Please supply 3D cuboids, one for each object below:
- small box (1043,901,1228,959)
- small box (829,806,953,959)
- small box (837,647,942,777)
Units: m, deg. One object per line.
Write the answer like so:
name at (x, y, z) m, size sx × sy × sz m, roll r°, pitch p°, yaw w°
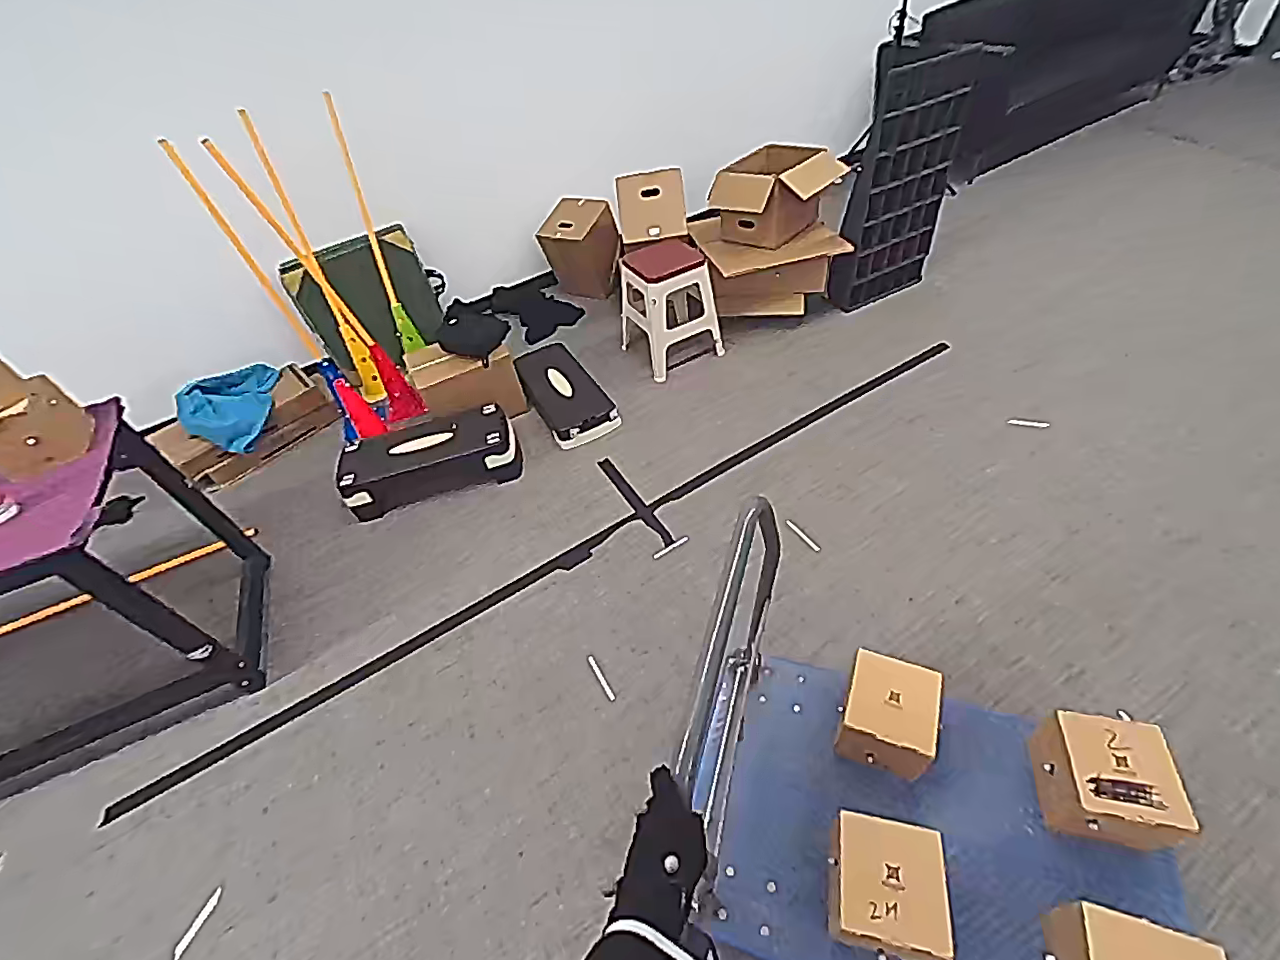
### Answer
small box at (0.758, 0.783, 0.827) m, size 0.179 × 0.176 × 0.168 m, roll 9°, pitch 49°, yaw 20°
small box at (0.430, 0.712, 0.954) m, size 0.168 × 0.176 × 0.179 m, roll 5°, pitch 48°, yaw 15°
small box at (0.524, 0.492, 1.148) m, size 0.168 × 0.176 × 0.179 m, roll 13°, pitch 52°, yaw 21°
